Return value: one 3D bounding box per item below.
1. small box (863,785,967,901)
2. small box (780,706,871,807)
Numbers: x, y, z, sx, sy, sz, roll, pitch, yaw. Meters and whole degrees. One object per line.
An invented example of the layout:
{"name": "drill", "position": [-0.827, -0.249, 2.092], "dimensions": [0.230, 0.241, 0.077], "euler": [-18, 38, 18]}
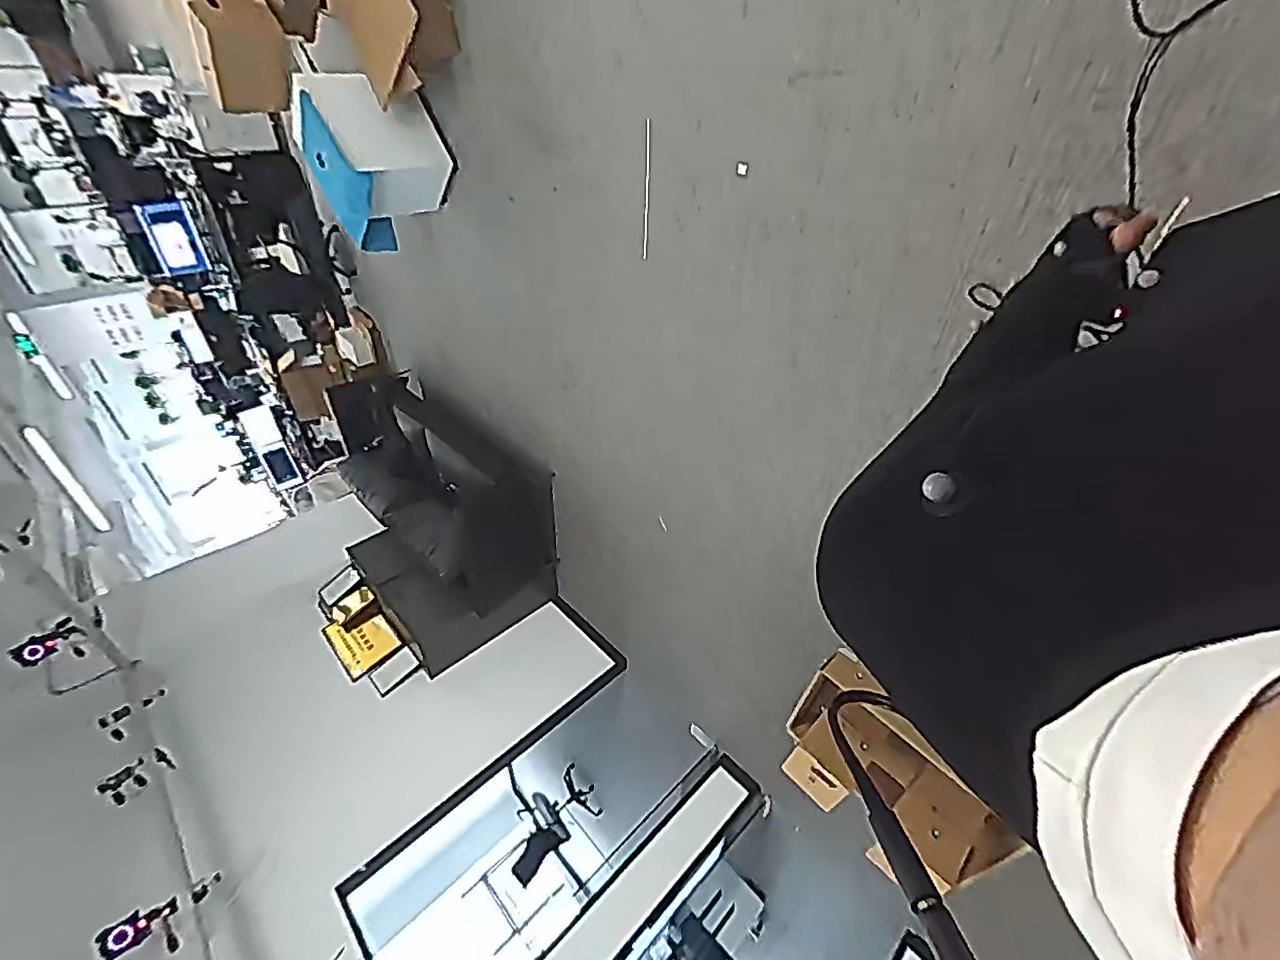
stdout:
{"name": "small box", "position": [0.735, 0.958, 1.438], "dimensions": [0.168, 0.176, 0.179], "euler": [37, 138, 32]}
{"name": "small box", "position": [0.544, 0.799, 1.575], "dimensions": [0.168, 0.176, 0.179], "euler": [39, 141, 28]}
